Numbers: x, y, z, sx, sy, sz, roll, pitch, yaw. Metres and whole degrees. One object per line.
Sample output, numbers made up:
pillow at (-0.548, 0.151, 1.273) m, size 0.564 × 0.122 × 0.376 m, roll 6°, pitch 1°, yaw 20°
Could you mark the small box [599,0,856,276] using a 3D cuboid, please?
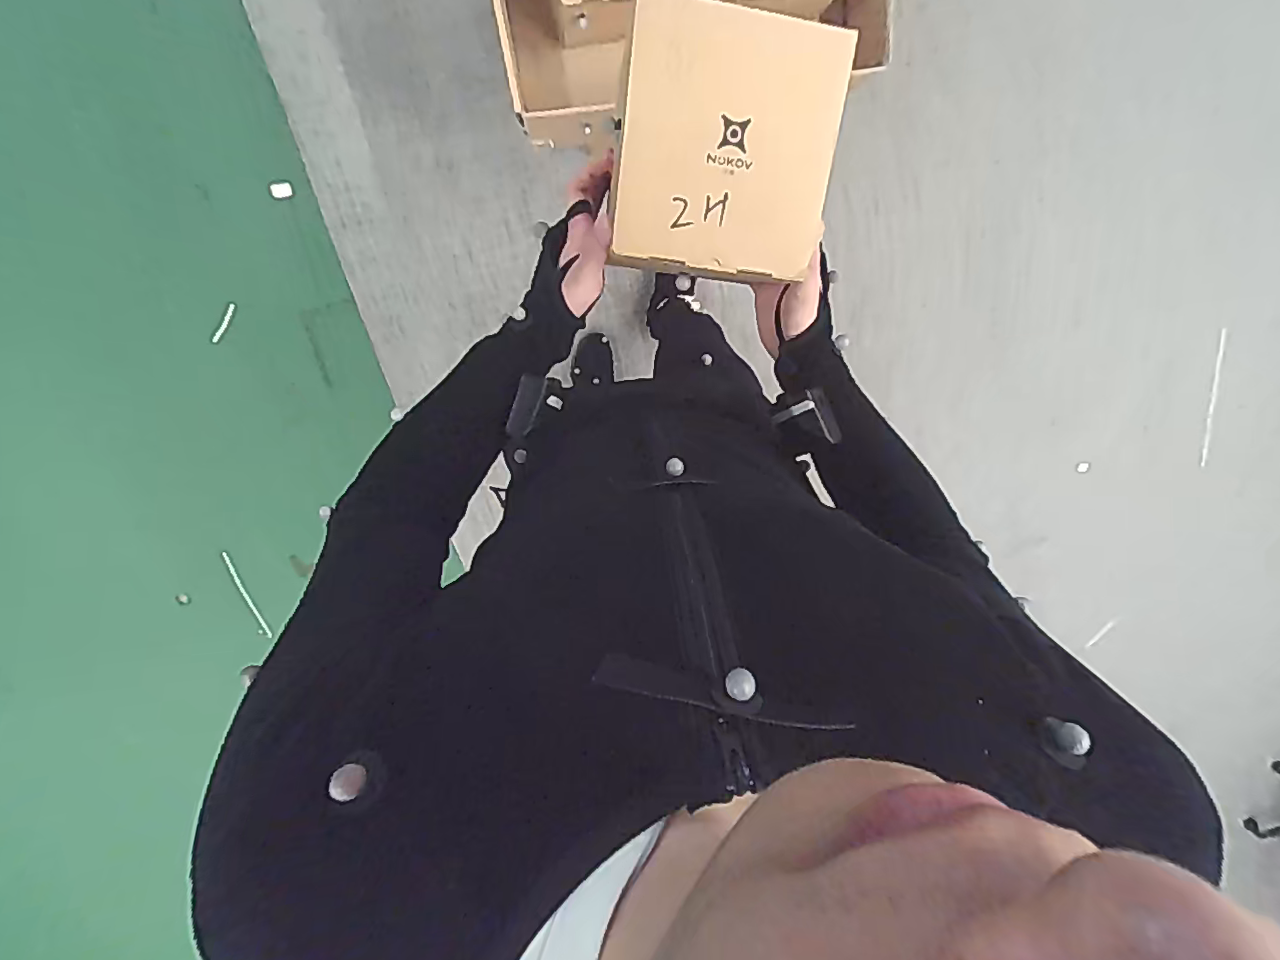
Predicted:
small box at (0.055, -0.283, 0.471) m, size 0.168 × 0.176 × 0.179 m, roll 5°, pitch 108°, yaw -8°
